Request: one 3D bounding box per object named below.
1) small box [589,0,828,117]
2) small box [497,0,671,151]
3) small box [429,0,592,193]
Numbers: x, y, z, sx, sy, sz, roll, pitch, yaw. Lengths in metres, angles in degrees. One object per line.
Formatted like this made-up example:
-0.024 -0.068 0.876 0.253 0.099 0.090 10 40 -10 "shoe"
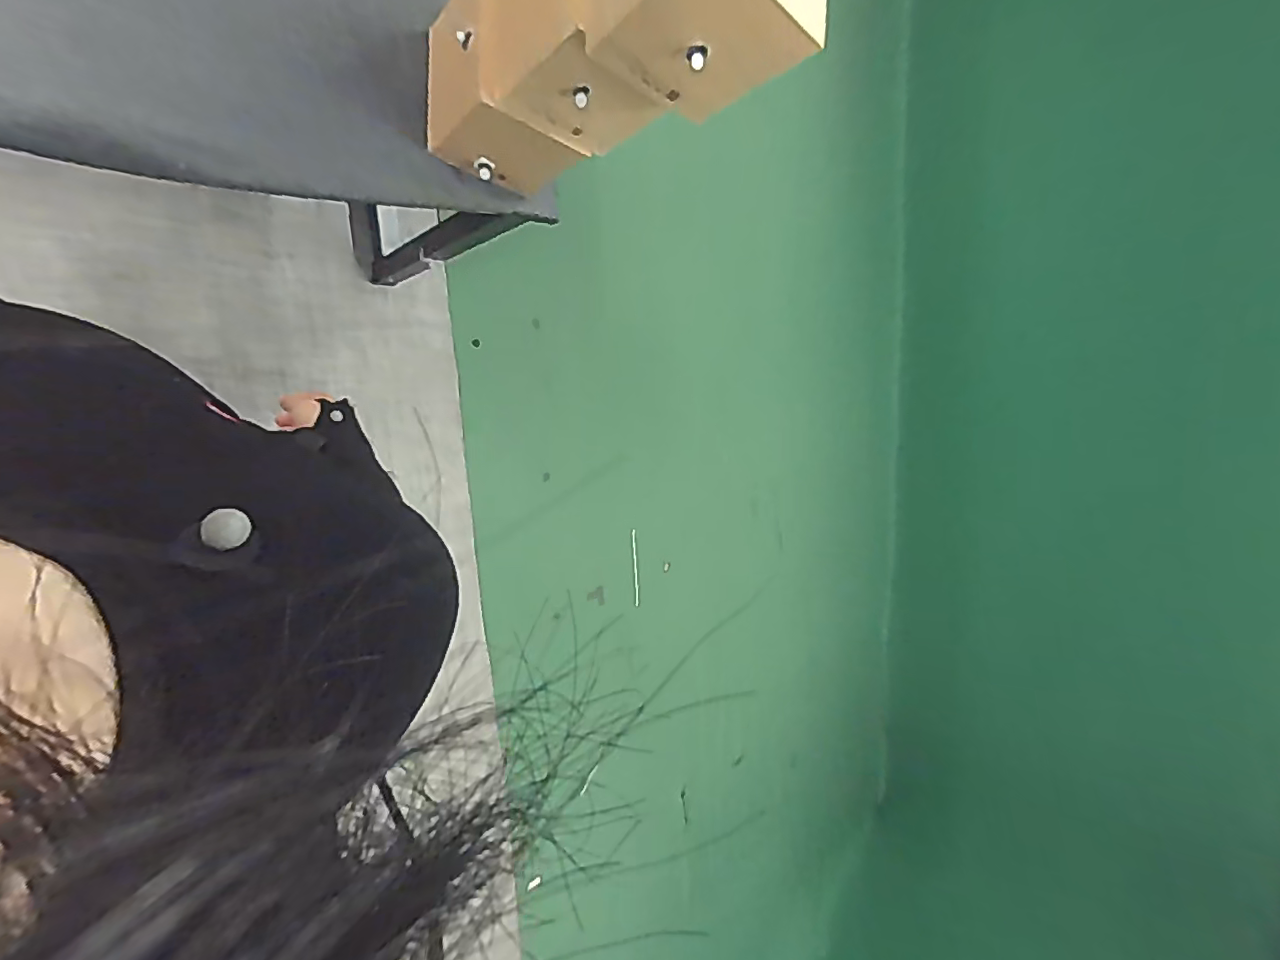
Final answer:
0.063 -0.498 0.519 0.168 0.176 0.179 -1 92 -43 "small box"
-0.056 -0.528 0.633 0.168 0.176 0.179 -2 93 -43 "small box"
-0.177 -0.533 0.741 0.168 0.176 0.179 1 93 -42 "small box"
